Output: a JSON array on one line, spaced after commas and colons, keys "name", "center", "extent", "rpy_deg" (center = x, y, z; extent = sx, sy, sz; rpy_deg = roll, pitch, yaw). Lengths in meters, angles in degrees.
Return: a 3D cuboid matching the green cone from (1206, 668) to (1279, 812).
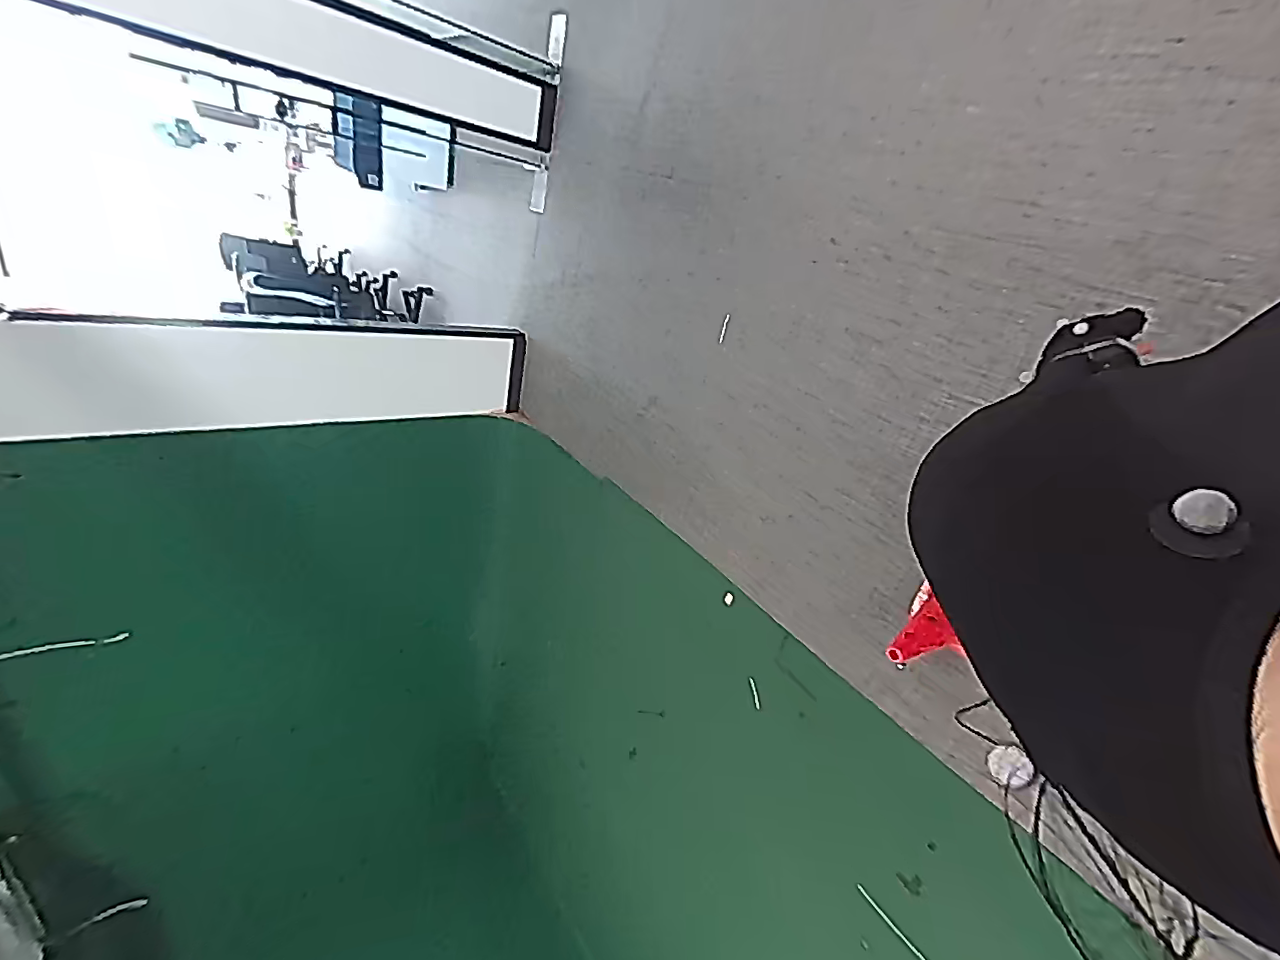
[{"name": "green cone", "center": [1.128, 0.508, 0.918], "extent": [0.200, 0.368, 0.202], "rpy_deg": [41, 126, 38]}]
